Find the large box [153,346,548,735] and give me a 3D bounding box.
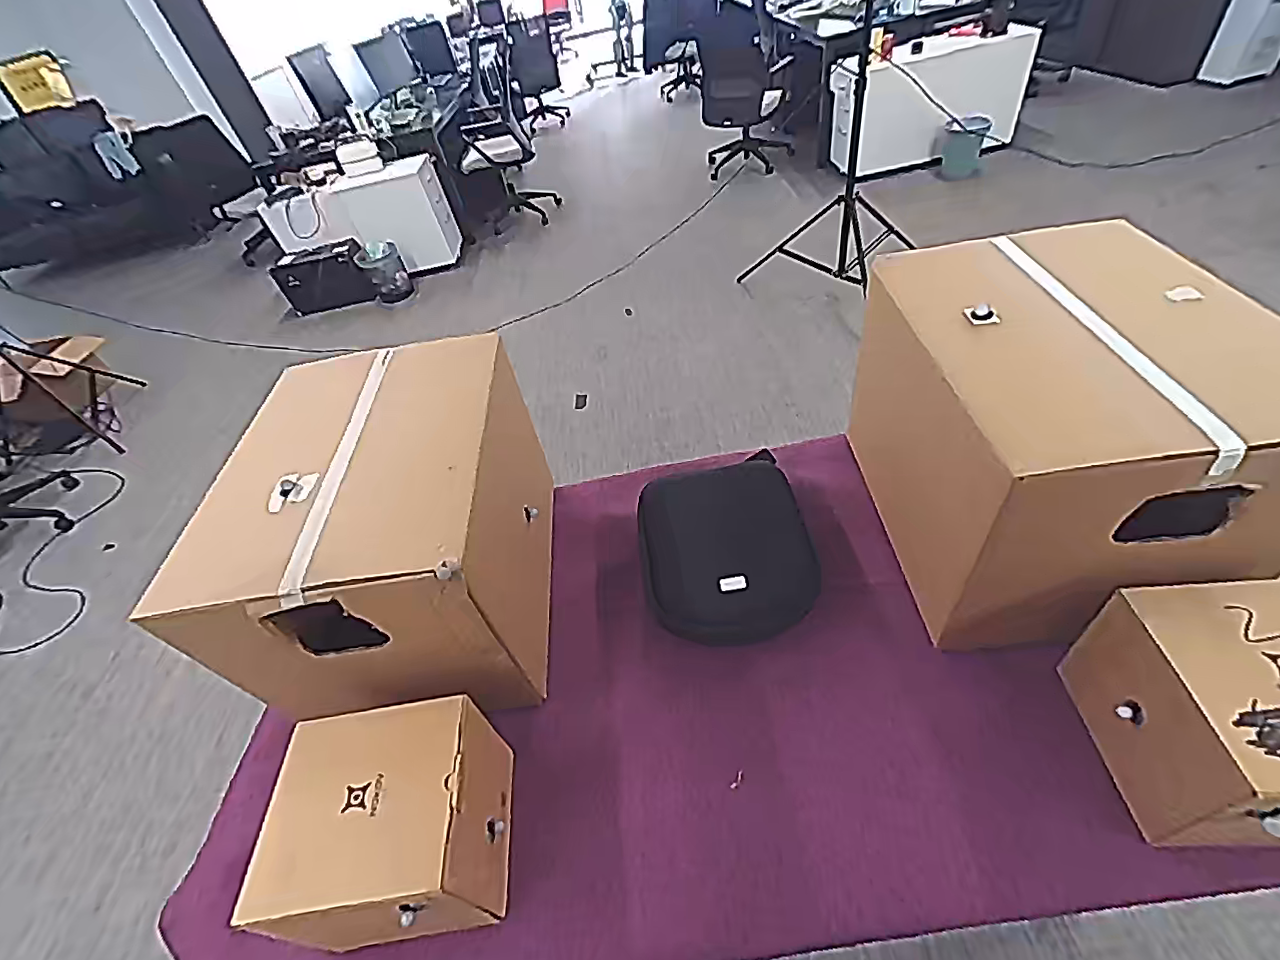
[{"bbox_3d":[-0.312,0.077,0.743,0.320,0.320,0.408,-10,47,2],"label":"large box"}]
